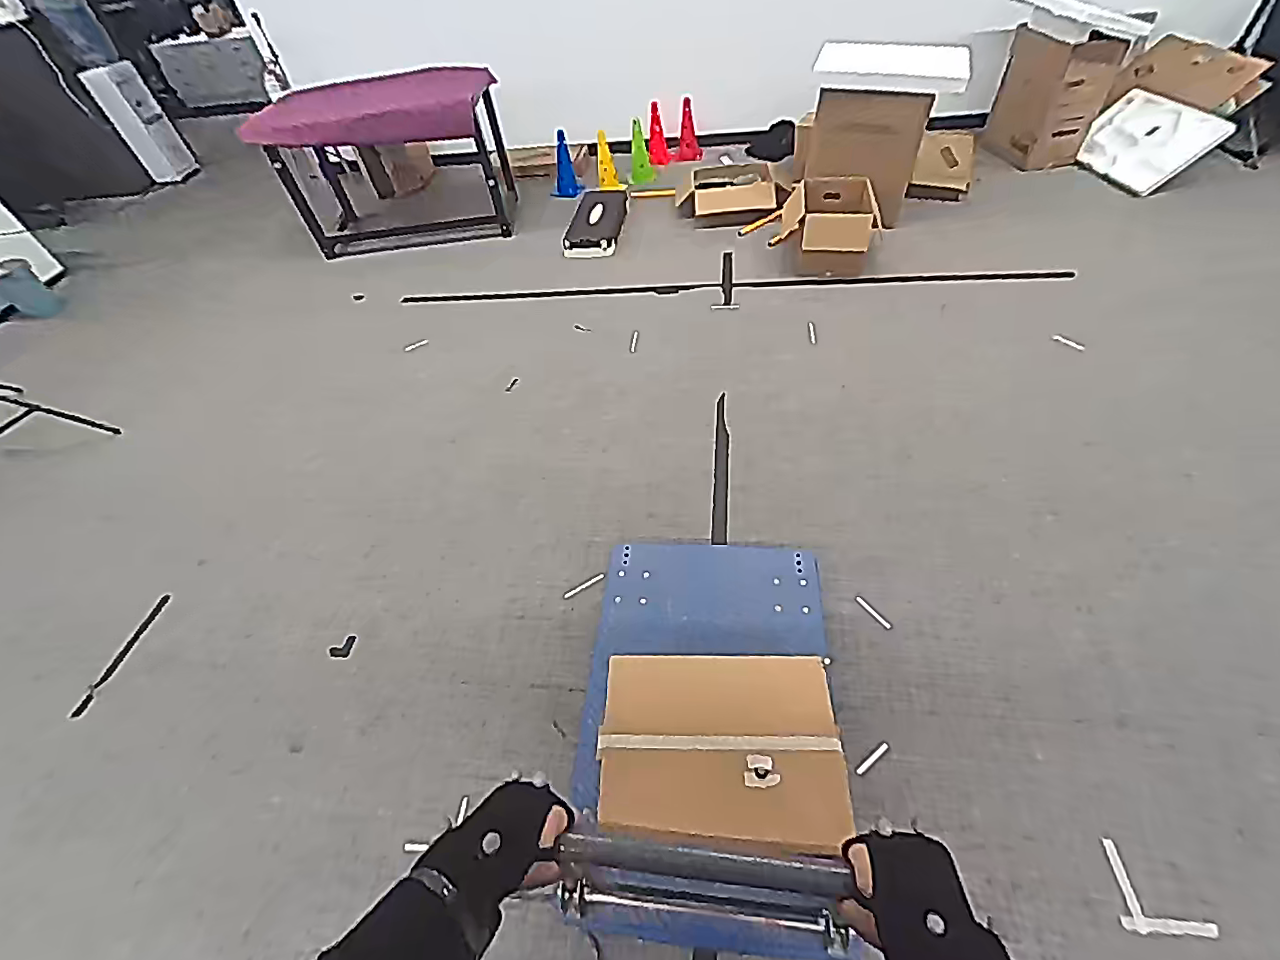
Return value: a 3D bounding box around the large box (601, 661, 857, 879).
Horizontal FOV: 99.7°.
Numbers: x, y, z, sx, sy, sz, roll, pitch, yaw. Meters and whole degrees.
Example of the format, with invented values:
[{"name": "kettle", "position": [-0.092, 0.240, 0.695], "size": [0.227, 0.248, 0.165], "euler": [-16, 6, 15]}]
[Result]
[{"name": "large box", "position": [0.147, 0.561, 1.043], "size": [0.408, 0.320, 0.320], "euler": [-1, 49, 4]}]
